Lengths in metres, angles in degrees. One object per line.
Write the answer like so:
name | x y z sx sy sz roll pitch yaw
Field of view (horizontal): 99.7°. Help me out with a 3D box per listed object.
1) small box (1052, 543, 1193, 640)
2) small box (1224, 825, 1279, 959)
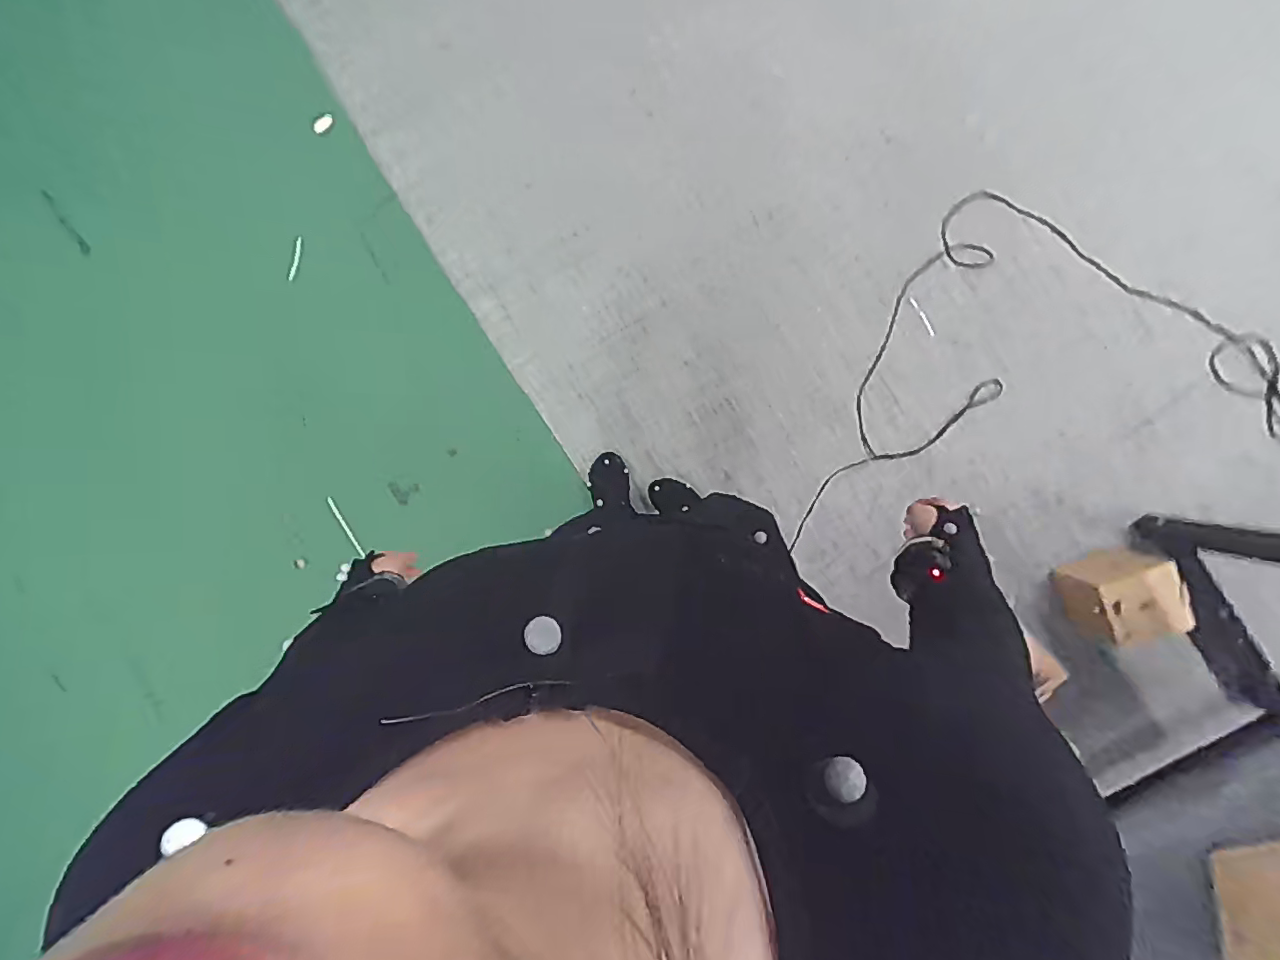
small box | 1.185 0.268 1.340 0.179 0.176 0.168 -21 92 4
small box | 0.865 0.542 0.646 0.179 0.176 0.168 -14 96 3
